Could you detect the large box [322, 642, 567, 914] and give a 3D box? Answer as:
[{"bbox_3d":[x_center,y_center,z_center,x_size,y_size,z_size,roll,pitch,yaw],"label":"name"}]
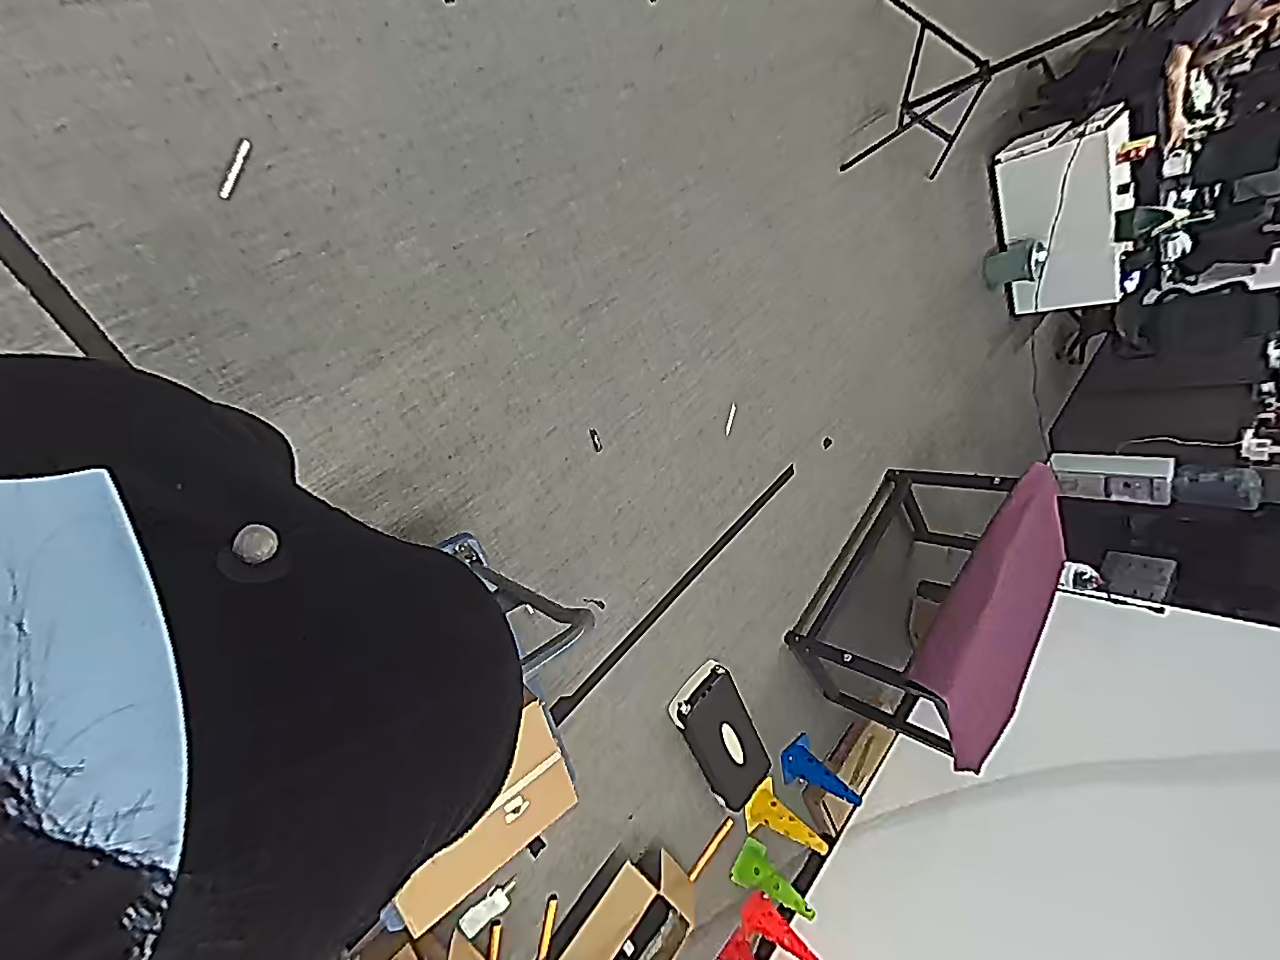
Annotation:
[{"bbox_3d":[-0.453,0.655,1.272,0.408,0.320,0.320,-28,113,-34],"label":"large box"}]
